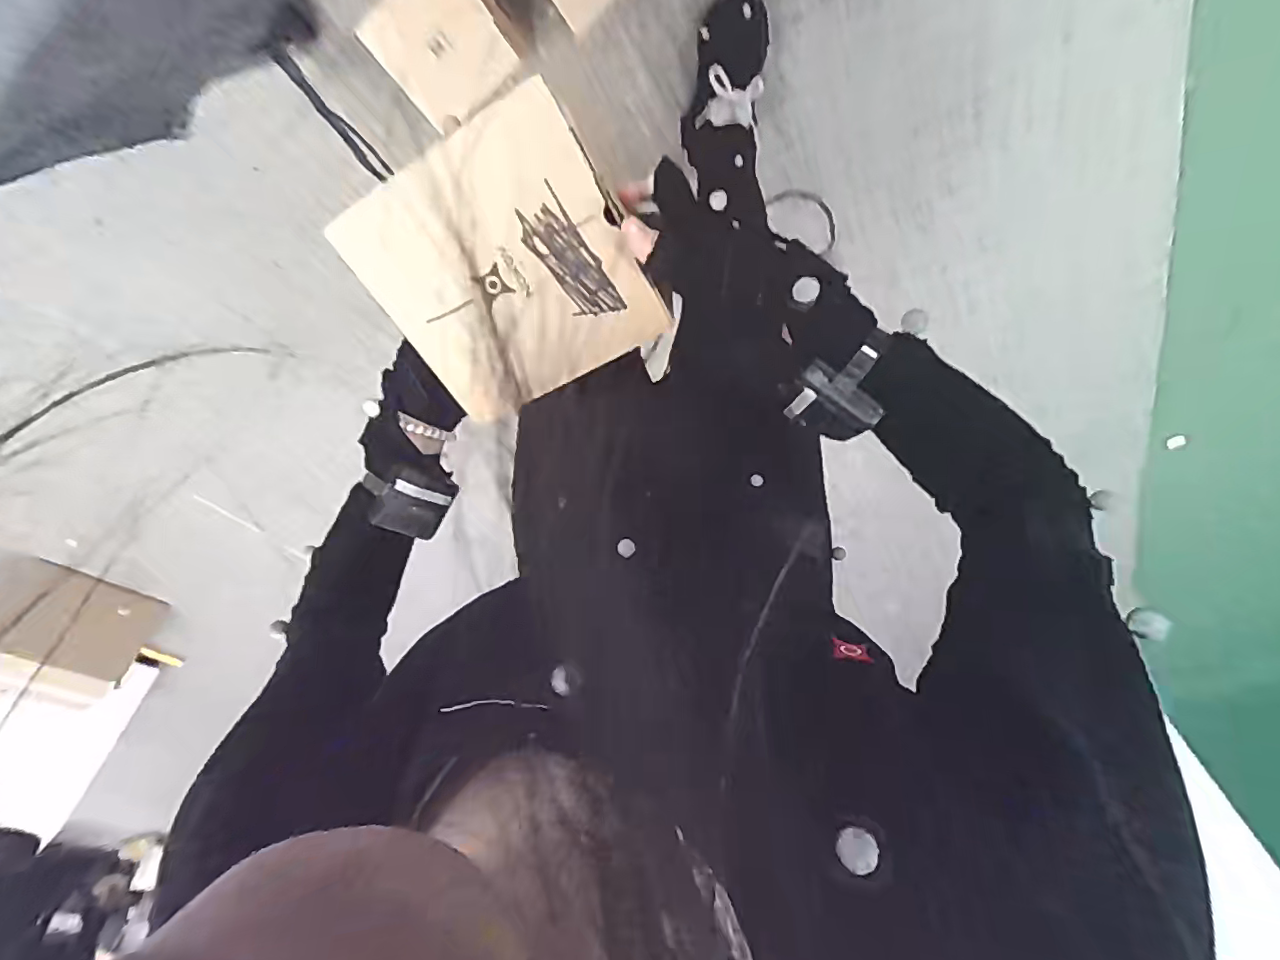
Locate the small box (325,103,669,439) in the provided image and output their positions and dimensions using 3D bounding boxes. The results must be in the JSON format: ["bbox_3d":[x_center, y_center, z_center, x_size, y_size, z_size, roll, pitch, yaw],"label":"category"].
[{"bbox_3d":[-0.090,-0.168,0.427,0.179,0.176,0.168,-22,122,18],"label":"small box"}]
